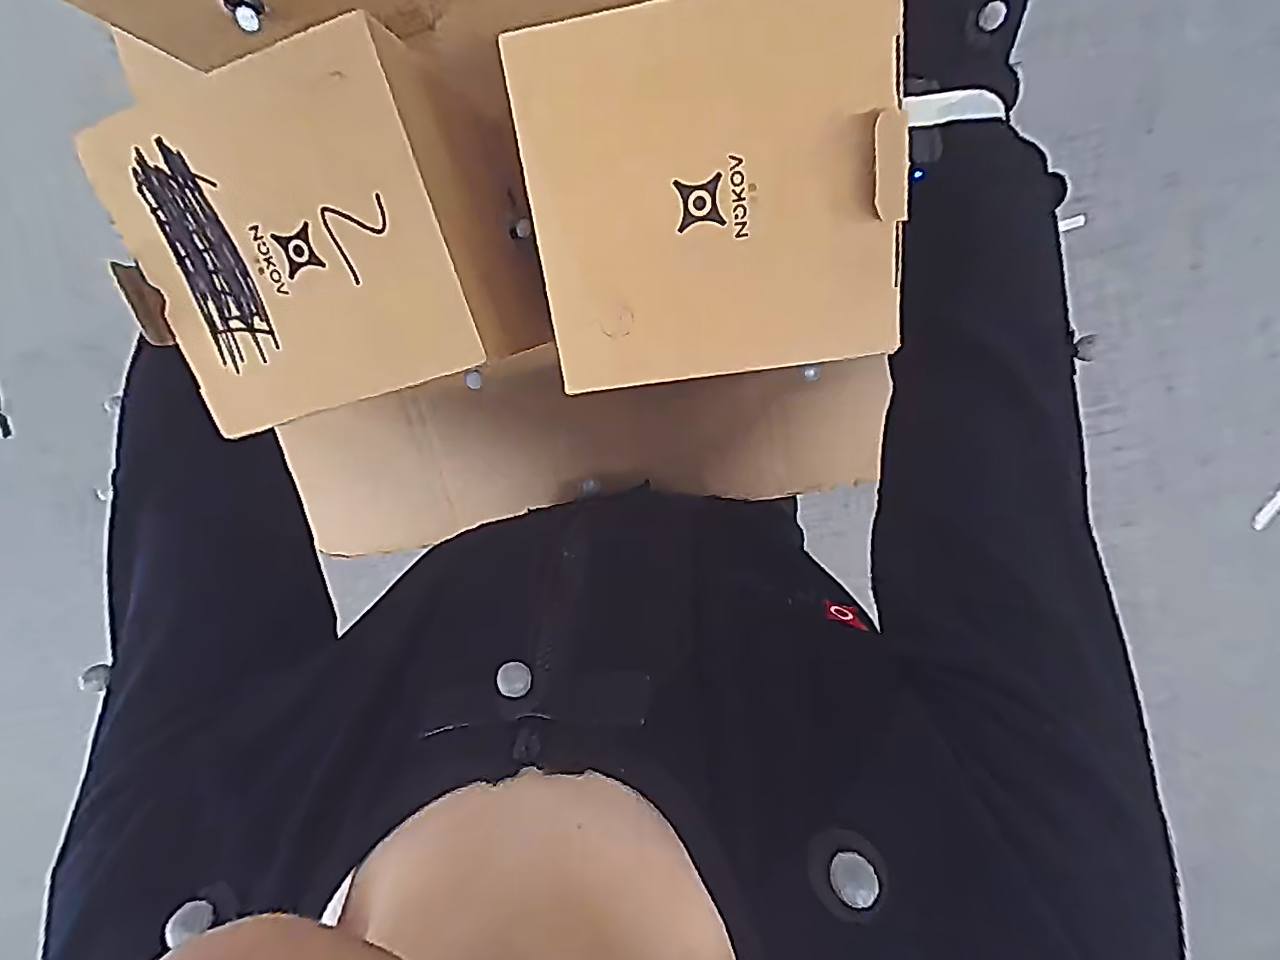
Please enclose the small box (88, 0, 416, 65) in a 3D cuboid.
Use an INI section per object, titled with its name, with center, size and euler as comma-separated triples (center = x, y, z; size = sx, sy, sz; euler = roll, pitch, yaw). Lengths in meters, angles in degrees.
[small box]
center = -0.257, -0.376, 0.304
size = 0.168, 0.176, 0.179
euler = -10, 104, 10
